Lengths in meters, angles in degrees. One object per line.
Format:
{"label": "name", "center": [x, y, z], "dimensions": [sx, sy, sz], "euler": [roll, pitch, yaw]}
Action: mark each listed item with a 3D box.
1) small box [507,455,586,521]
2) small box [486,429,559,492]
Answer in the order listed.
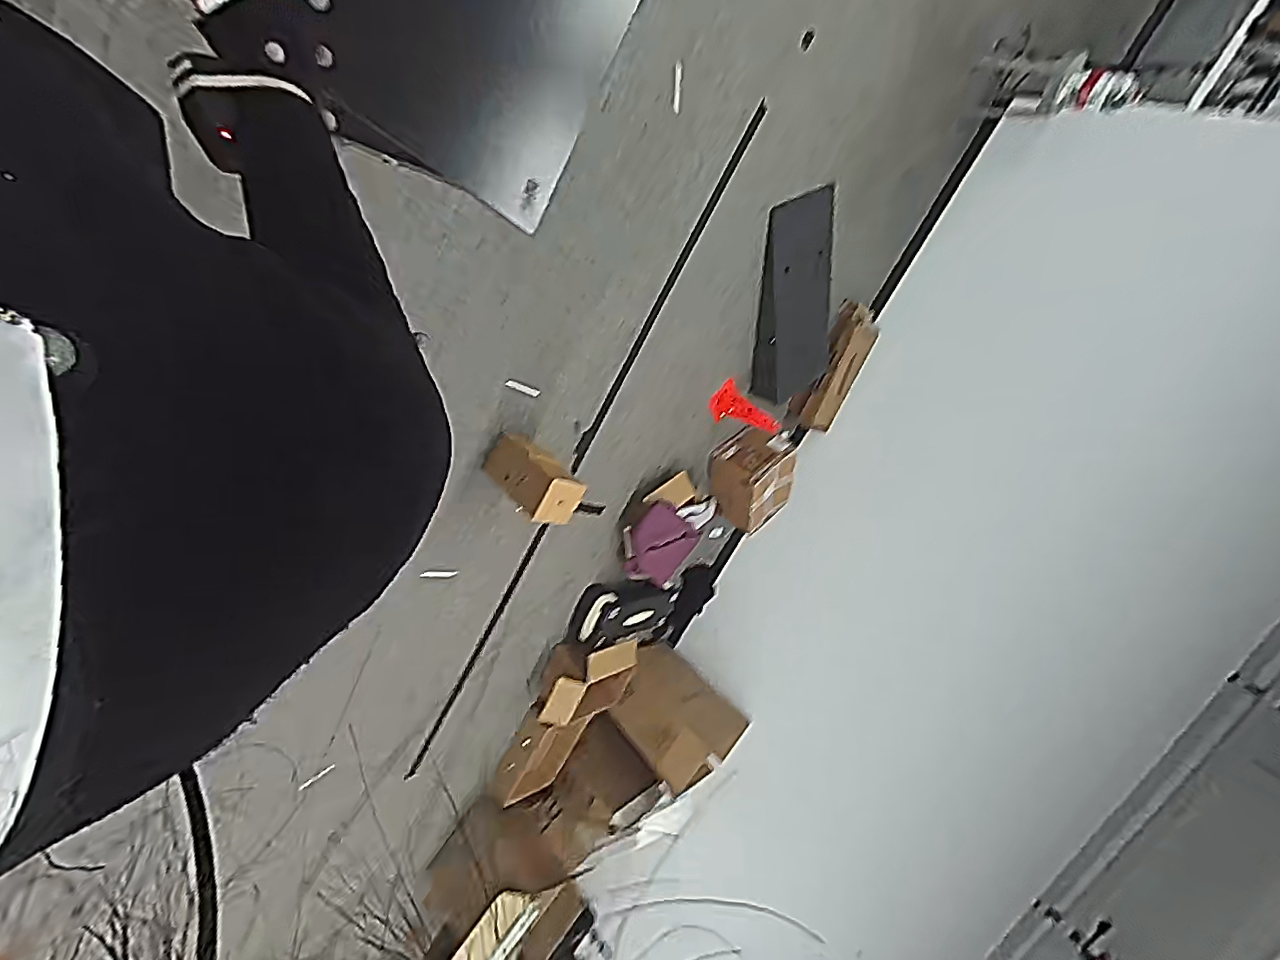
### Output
{"label": "small box", "center": [-0.329, 0.028, 1.899], "dimensions": [0.179, 0.176, 0.168], "euler": [14, 107, -54]}
{"label": "small box", "center": [-0.438, -0.060, 1.982], "dimensions": [0.168, 0.176, 0.179], "euler": [16, 107, -56]}
